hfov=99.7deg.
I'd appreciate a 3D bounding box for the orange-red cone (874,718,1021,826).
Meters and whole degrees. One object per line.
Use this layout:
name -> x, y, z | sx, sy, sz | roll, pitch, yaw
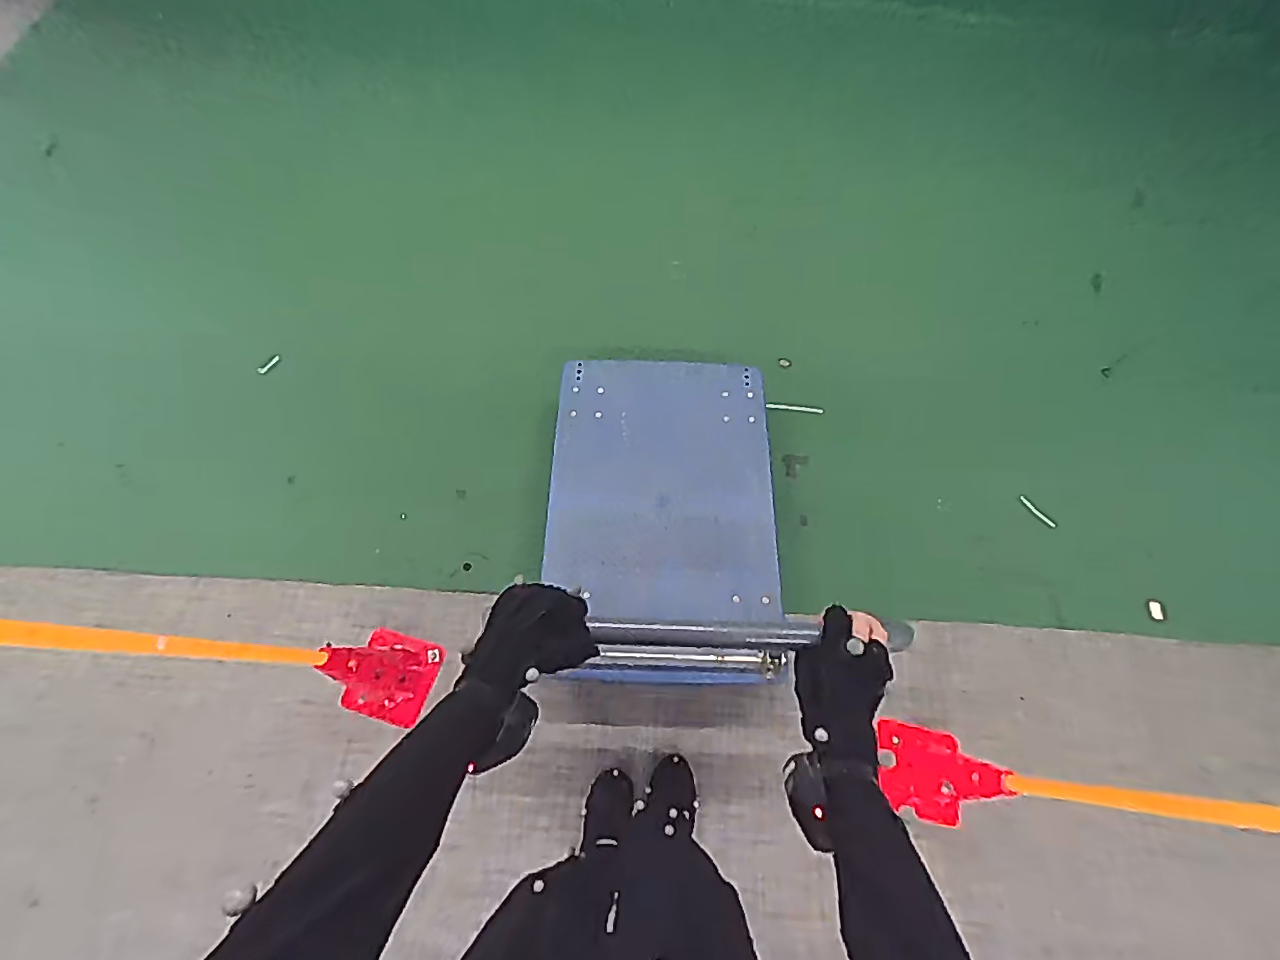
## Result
orange-red cone -> 0.661, 0.615, 1.123 | 0.198, 0.360, 0.199 | 14, 66, 6
